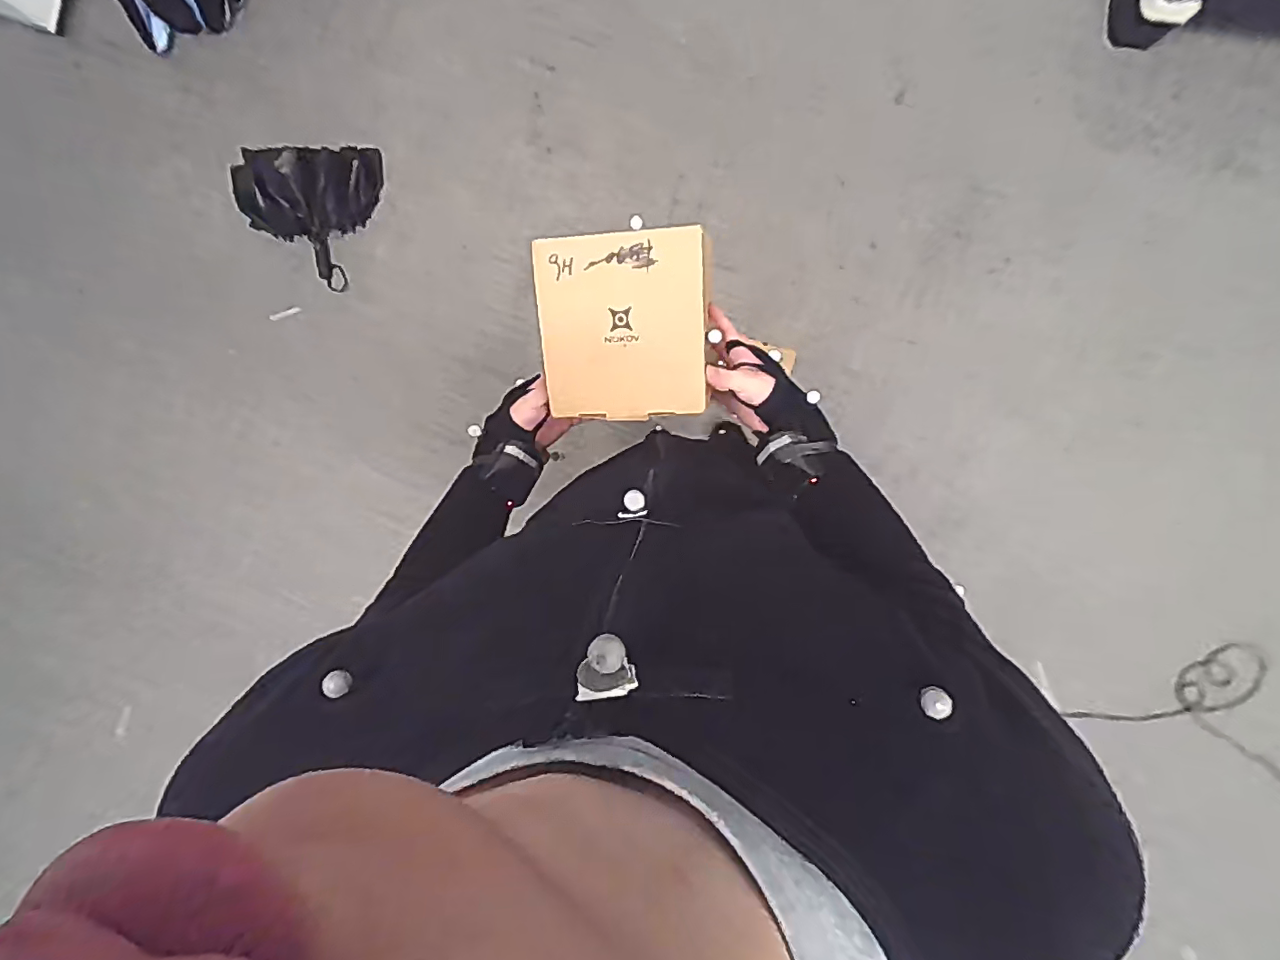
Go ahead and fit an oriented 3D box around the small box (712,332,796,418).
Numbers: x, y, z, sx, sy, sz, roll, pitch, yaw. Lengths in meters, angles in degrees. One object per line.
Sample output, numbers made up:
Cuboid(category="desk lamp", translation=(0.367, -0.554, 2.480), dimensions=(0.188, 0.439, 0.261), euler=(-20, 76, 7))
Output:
Cuboid(category="small box", translation=(0.292, -0.270, 1.428), dimensions=(0.168, 0.176, 0.179), euler=(18, 97, 4))
